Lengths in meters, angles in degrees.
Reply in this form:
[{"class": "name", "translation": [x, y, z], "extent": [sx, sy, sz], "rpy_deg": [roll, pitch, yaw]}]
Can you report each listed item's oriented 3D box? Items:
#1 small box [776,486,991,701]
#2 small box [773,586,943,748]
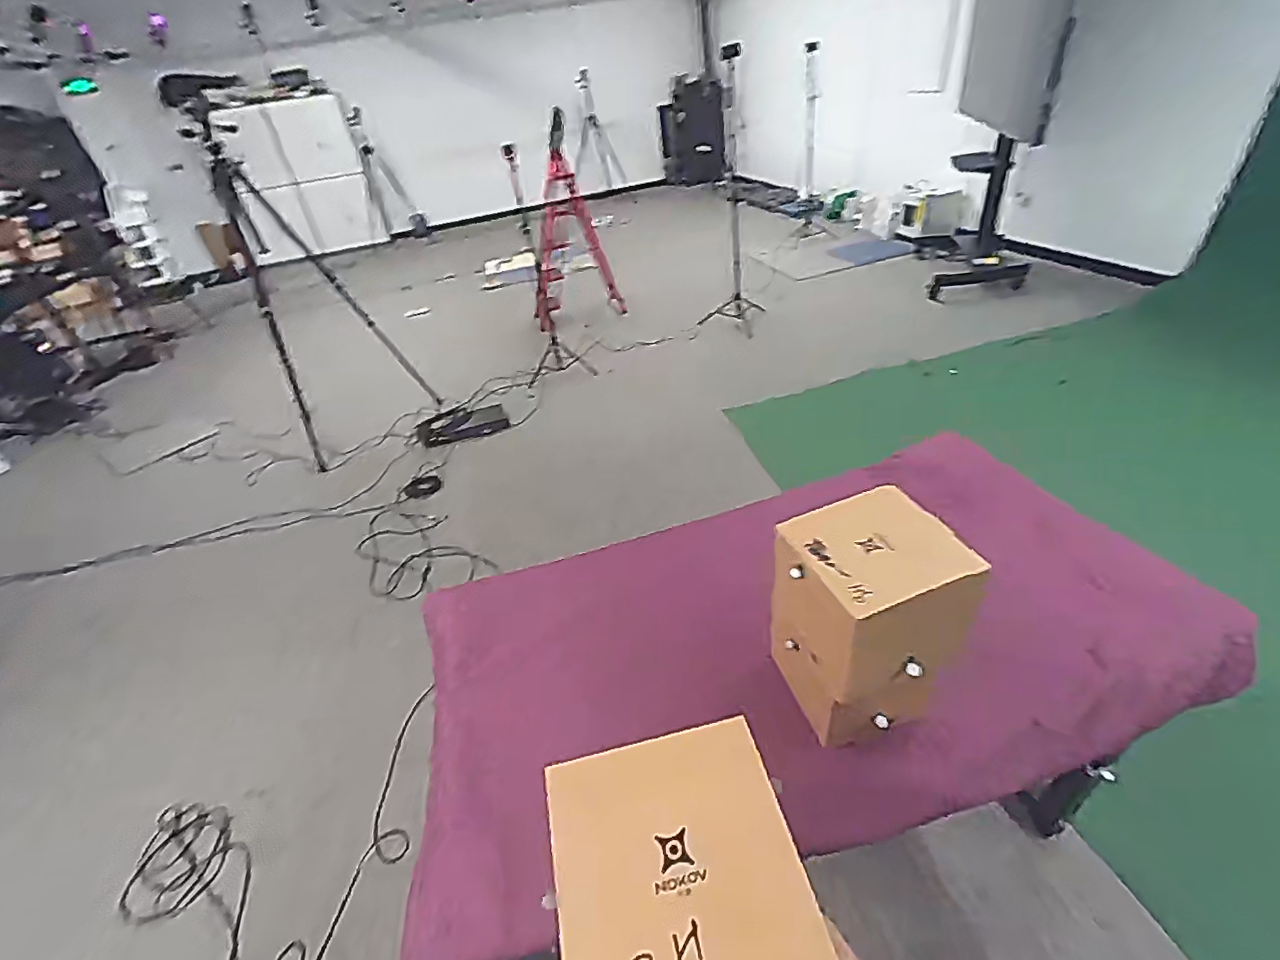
[{"class": "small box", "translation": [0.283, 0.138, 0.675], "extent": [0.179, 0.176, 0.168], "rpy_deg": [-17, 37, -10]}, {"class": "small box", "translation": [0.305, 0.252, 0.794], "extent": [0.168, 0.176, 0.179], "rpy_deg": [-15, 37, -7]}]
